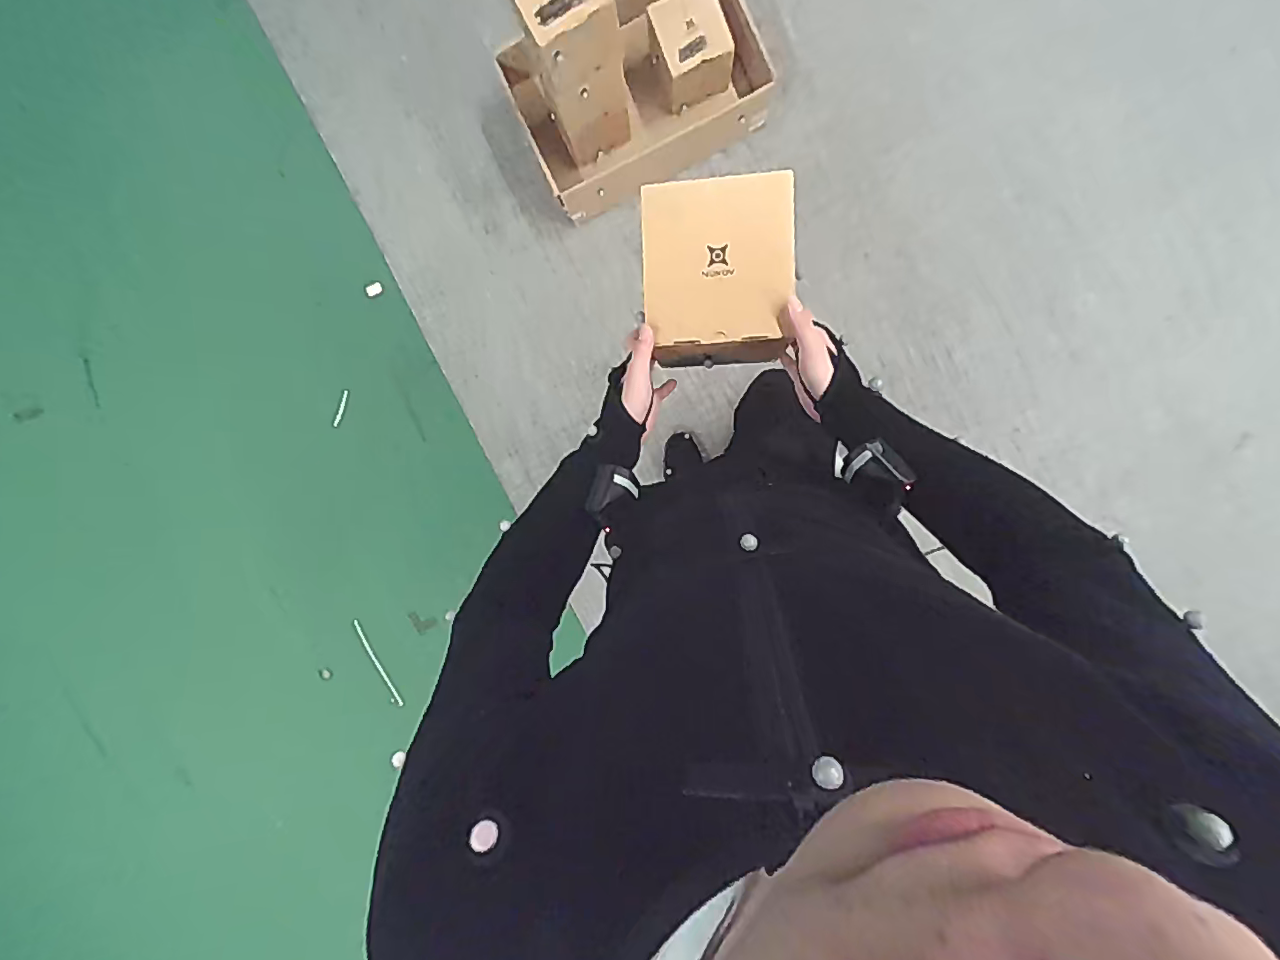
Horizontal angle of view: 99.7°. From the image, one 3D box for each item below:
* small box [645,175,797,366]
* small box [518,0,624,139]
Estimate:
[{"bbox_3d":[0.096,-0.242,0.667,0.168,0.176,0.179,-2,95,7],"label":"small box"},{"bbox_3d":[-0.151,-0.941,1.245,0.168,0.176,0.179,-28,93,6],"label":"small box"}]
